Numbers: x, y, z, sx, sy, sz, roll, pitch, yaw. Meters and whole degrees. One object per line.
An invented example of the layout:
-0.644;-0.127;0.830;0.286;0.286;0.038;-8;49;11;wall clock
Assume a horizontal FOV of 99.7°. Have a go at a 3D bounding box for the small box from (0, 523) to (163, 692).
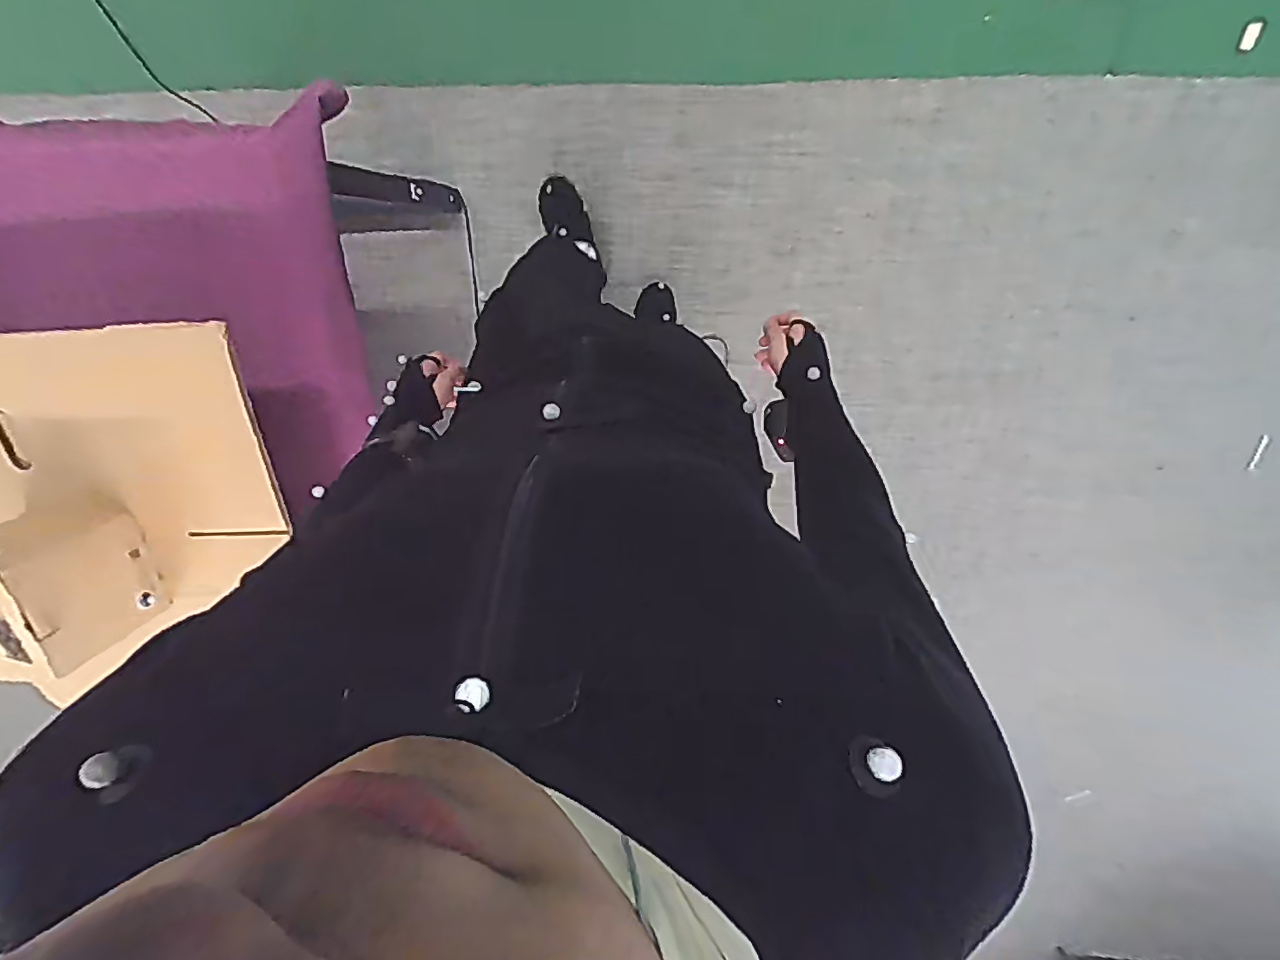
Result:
-0.814;0.167;0.742;0.179;0.176;0.168;-2;111;5;small box
